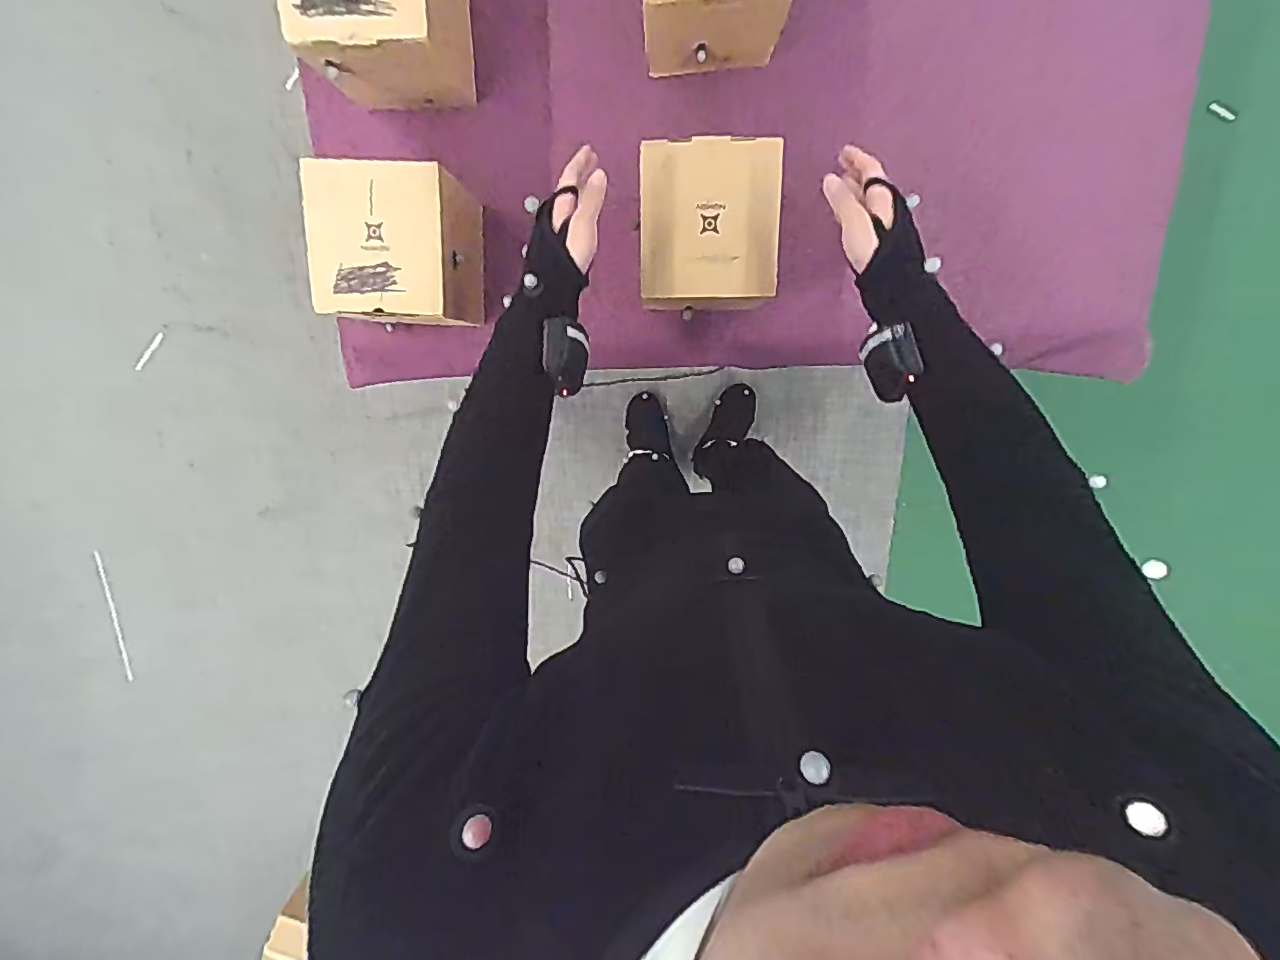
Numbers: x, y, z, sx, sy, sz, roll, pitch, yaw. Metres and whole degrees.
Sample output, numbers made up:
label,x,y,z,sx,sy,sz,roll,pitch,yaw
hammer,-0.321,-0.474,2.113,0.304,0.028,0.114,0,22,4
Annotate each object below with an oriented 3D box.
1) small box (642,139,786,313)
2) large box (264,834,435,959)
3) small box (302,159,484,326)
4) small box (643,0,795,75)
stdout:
label,x,y,z,sx,sy,sz,roll,pitch,yaw
small box,0.086,-0.320,0.712,0.168,0.176,0.179,1,103,2
large box,-1.000,1.524,1.875,0.408,0.320,0.320,23,104,-5
small box,-0.314,-0.303,0.723,0.168,0.176,0.179,2,102,0
small box,0.085,-0.624,0.639,0.168,0.176,0.179,-5,105,2
